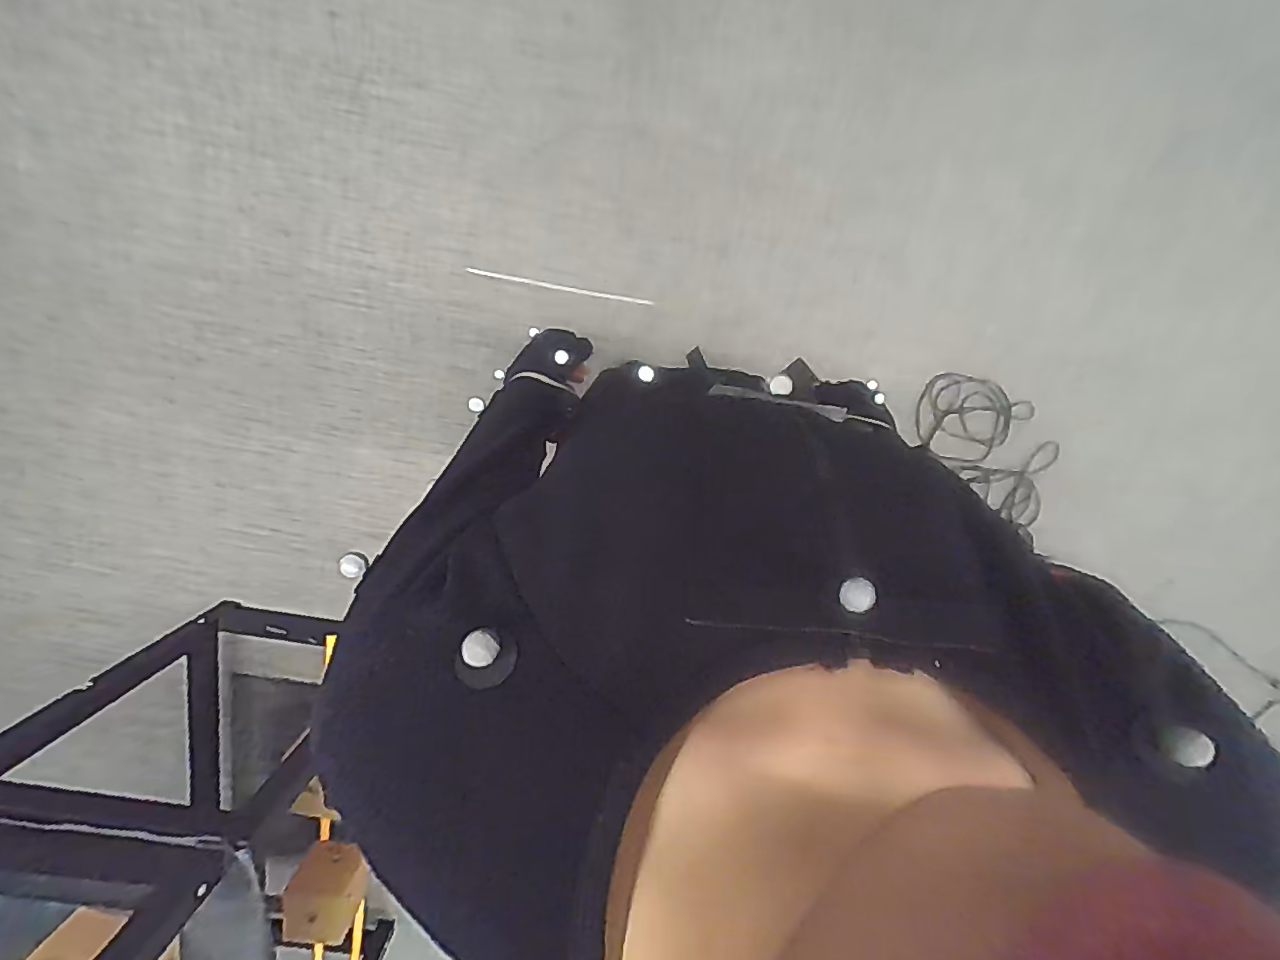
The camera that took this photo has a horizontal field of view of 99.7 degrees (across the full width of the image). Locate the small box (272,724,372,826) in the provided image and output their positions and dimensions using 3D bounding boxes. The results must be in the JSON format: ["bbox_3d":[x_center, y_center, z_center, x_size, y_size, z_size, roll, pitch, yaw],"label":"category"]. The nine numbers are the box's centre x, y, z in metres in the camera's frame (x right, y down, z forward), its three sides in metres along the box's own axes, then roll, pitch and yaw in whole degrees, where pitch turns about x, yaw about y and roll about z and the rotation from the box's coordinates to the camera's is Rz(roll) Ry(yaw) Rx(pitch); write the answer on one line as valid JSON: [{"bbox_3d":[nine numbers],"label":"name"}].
[{"bbox_3d":[-0.859,0.797,1.473,0.179,0.176,0.168,13,102,-3],"label":"small box"}]
